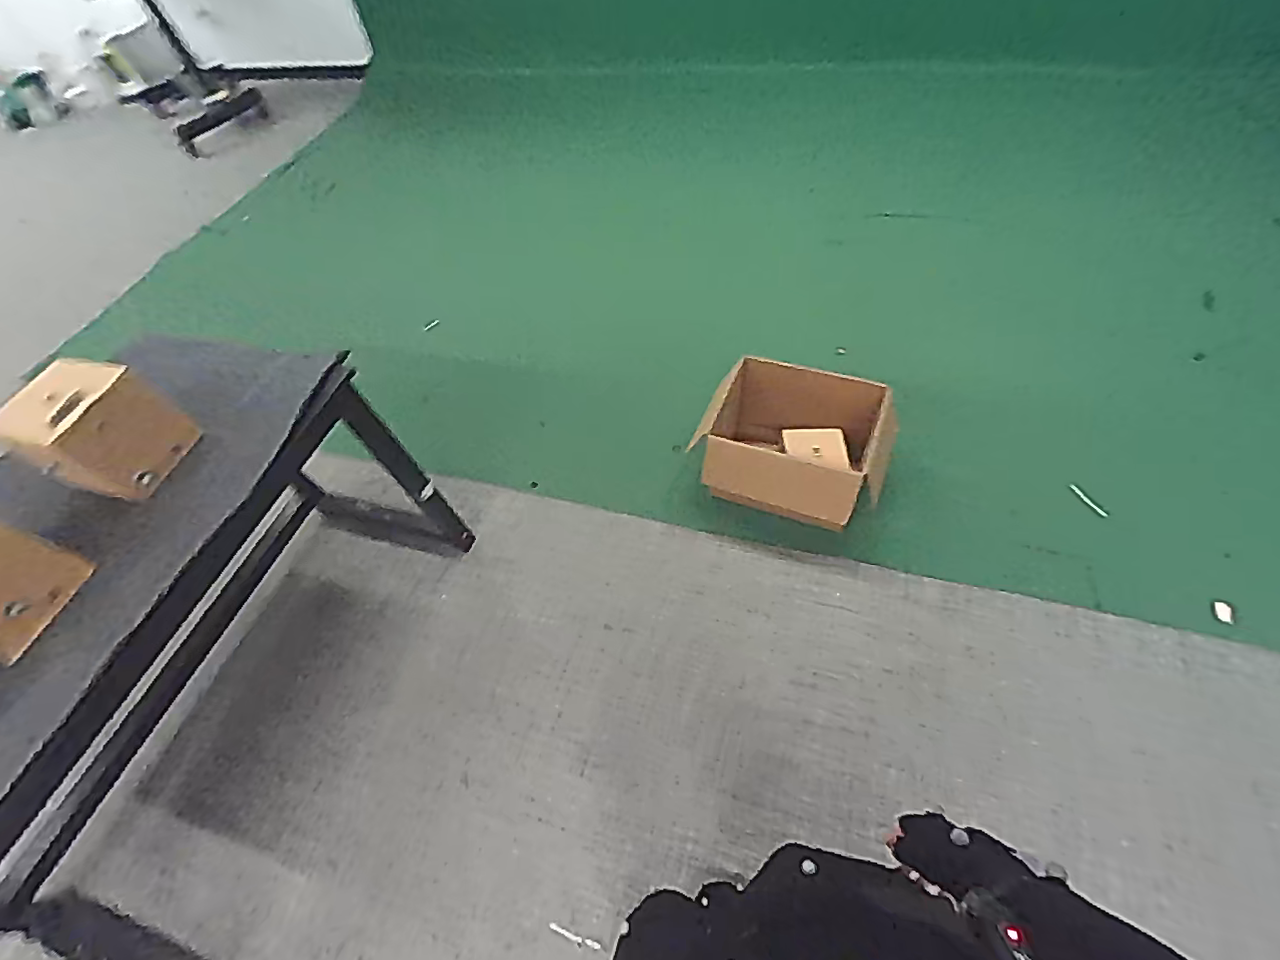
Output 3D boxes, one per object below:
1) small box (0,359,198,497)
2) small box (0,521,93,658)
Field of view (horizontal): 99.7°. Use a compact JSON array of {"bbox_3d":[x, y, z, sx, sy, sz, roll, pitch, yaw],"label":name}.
[{"bbox_3d":[-0.947,-0.086,0.950,0.179,0.176,0.168,9,59,15],"label":"small box"},{"bbox_3d":[-1.008,0.150,0.806,0.179,0.176,0.168,10,58,14],"label":"small box"}]
